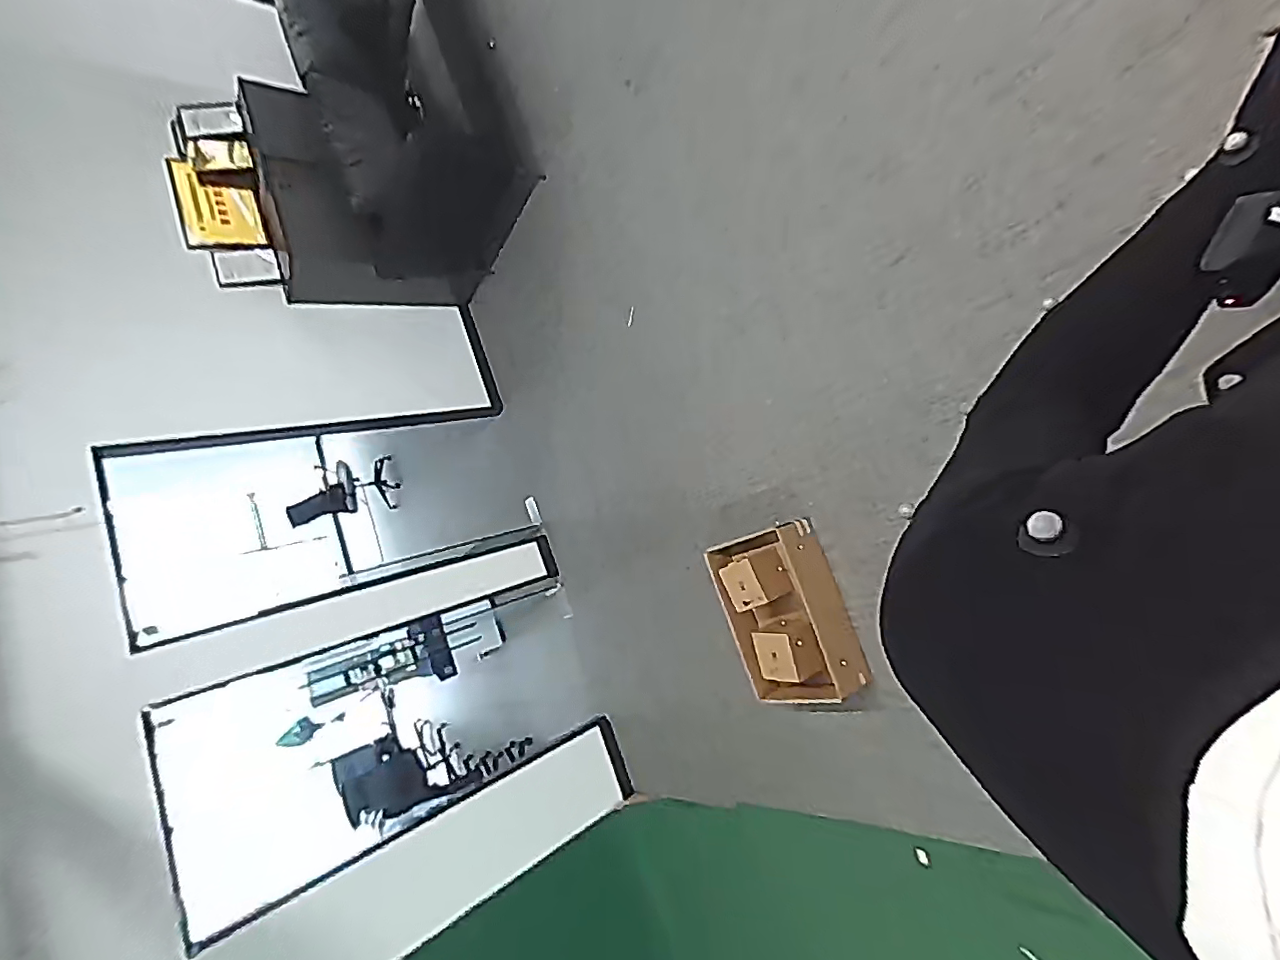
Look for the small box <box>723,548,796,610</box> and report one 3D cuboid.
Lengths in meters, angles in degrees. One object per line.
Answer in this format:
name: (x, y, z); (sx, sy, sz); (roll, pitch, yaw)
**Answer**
small box: (0.452, 0.368, 2.038); (0.168, 0.176, 0.179); (-37, 72, 49)
